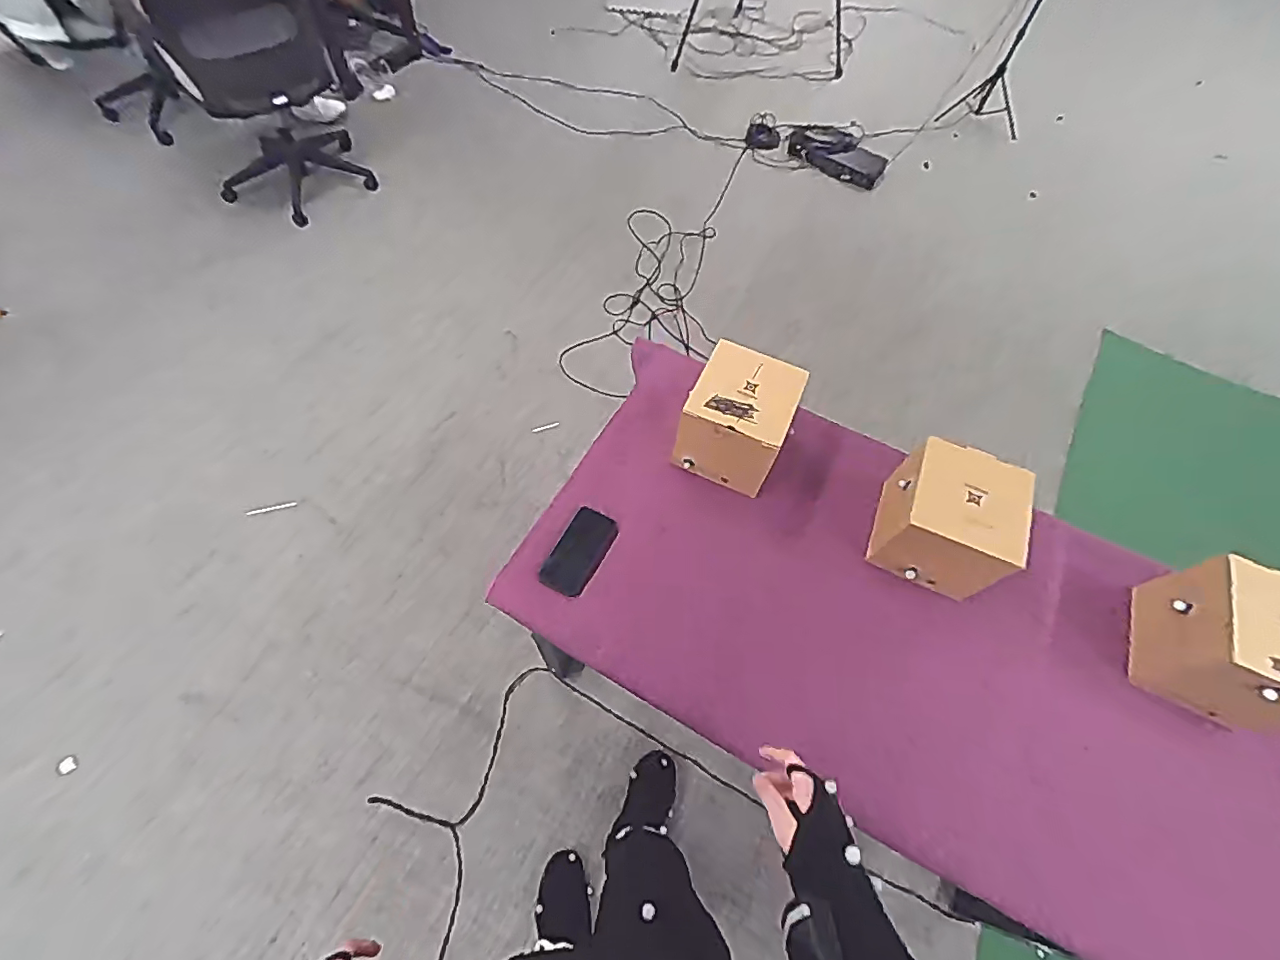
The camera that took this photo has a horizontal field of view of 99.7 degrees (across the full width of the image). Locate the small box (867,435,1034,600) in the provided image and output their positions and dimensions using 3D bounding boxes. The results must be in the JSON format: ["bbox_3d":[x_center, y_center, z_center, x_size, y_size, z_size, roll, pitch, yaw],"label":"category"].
[{"bbox_3d":[0.492,0.065,0.874,0.168,0.176,0.179,23,62,10],"label":"small box"}]

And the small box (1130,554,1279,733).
[{"bbox_3d":[0.873,0.245,0.795,0.168,0.176,0.179,25,61,11],"label":"small box"}]

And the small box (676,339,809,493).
[{"bbox_3d":[0.170,-0.105,0.947,0.168,0.176,0.179,24,61,9],"label":"small box"}]
